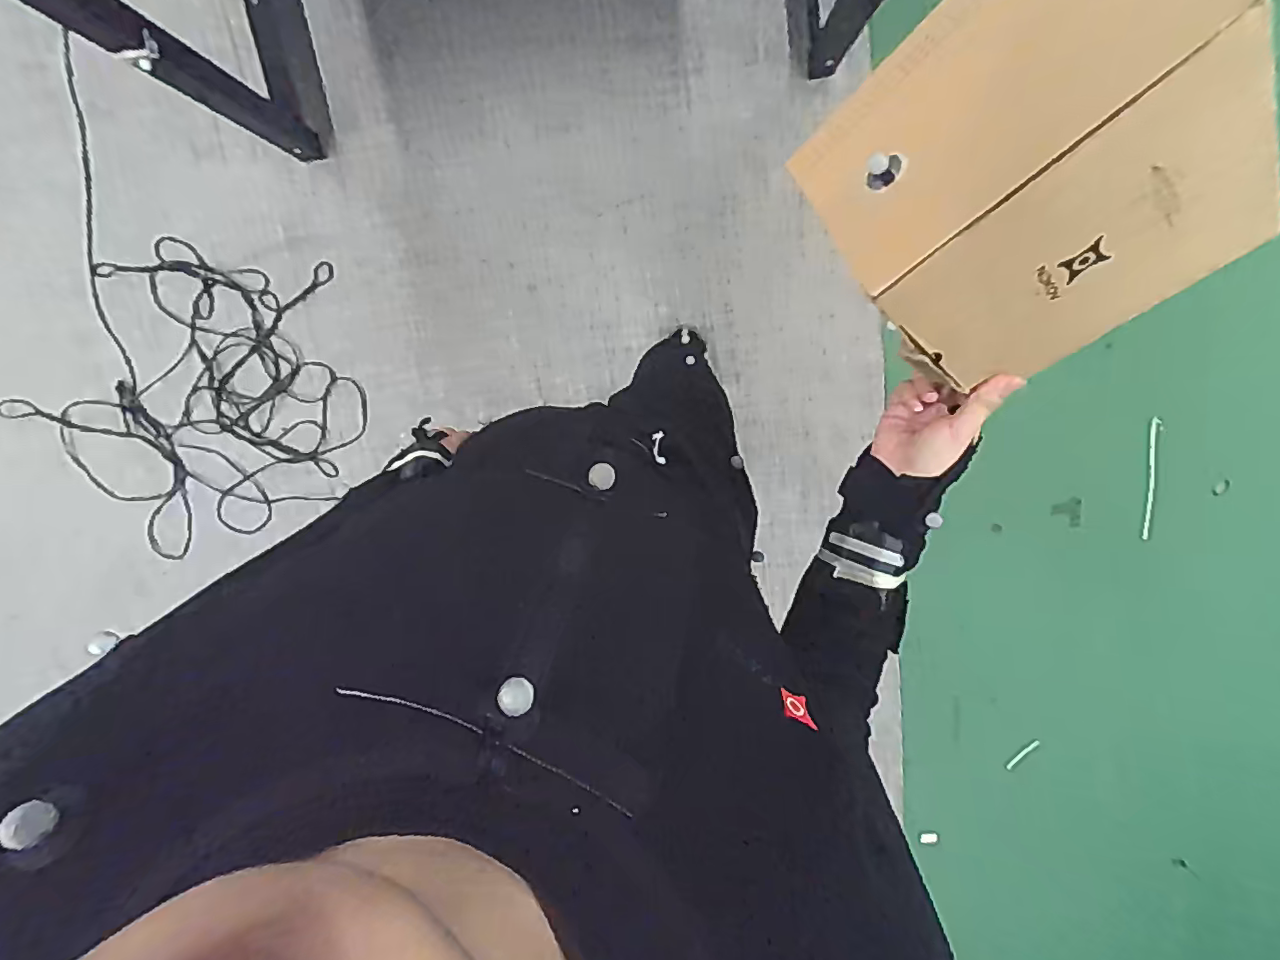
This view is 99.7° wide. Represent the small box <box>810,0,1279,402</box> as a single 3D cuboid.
[{"bbox_3d":[0.235,-0.189,0.352,0.168,0.176,0.179,21,134,-37],"label":"small box"}]
